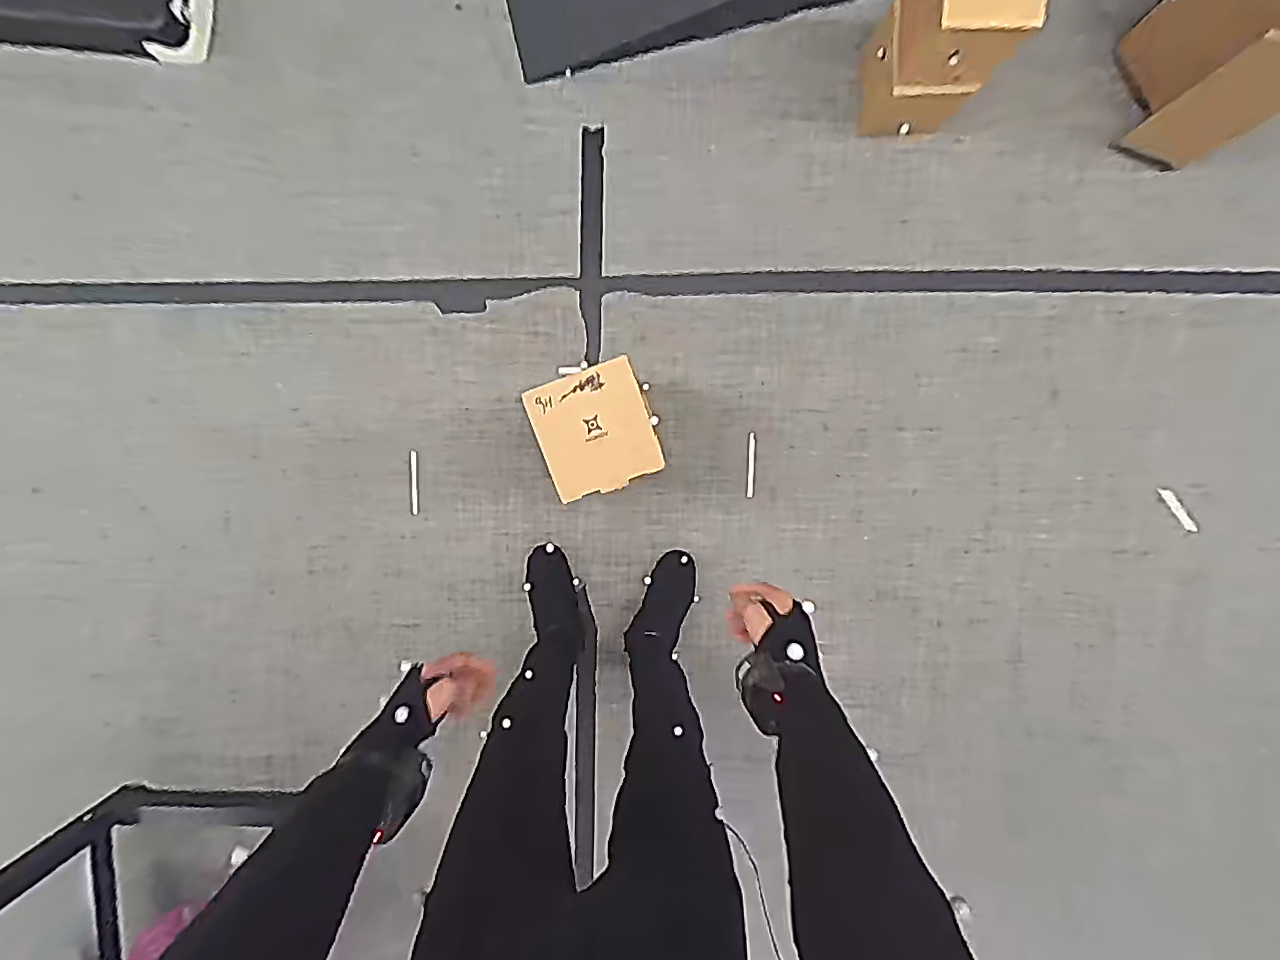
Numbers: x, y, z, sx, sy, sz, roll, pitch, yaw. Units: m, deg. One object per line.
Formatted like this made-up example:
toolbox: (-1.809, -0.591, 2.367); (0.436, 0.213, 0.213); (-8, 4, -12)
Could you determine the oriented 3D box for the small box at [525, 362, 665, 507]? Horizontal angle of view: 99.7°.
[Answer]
small box: (-0.064, -0.075, 0.869); (0.168, 0.176, 0.179); (-19, 96, 2)
